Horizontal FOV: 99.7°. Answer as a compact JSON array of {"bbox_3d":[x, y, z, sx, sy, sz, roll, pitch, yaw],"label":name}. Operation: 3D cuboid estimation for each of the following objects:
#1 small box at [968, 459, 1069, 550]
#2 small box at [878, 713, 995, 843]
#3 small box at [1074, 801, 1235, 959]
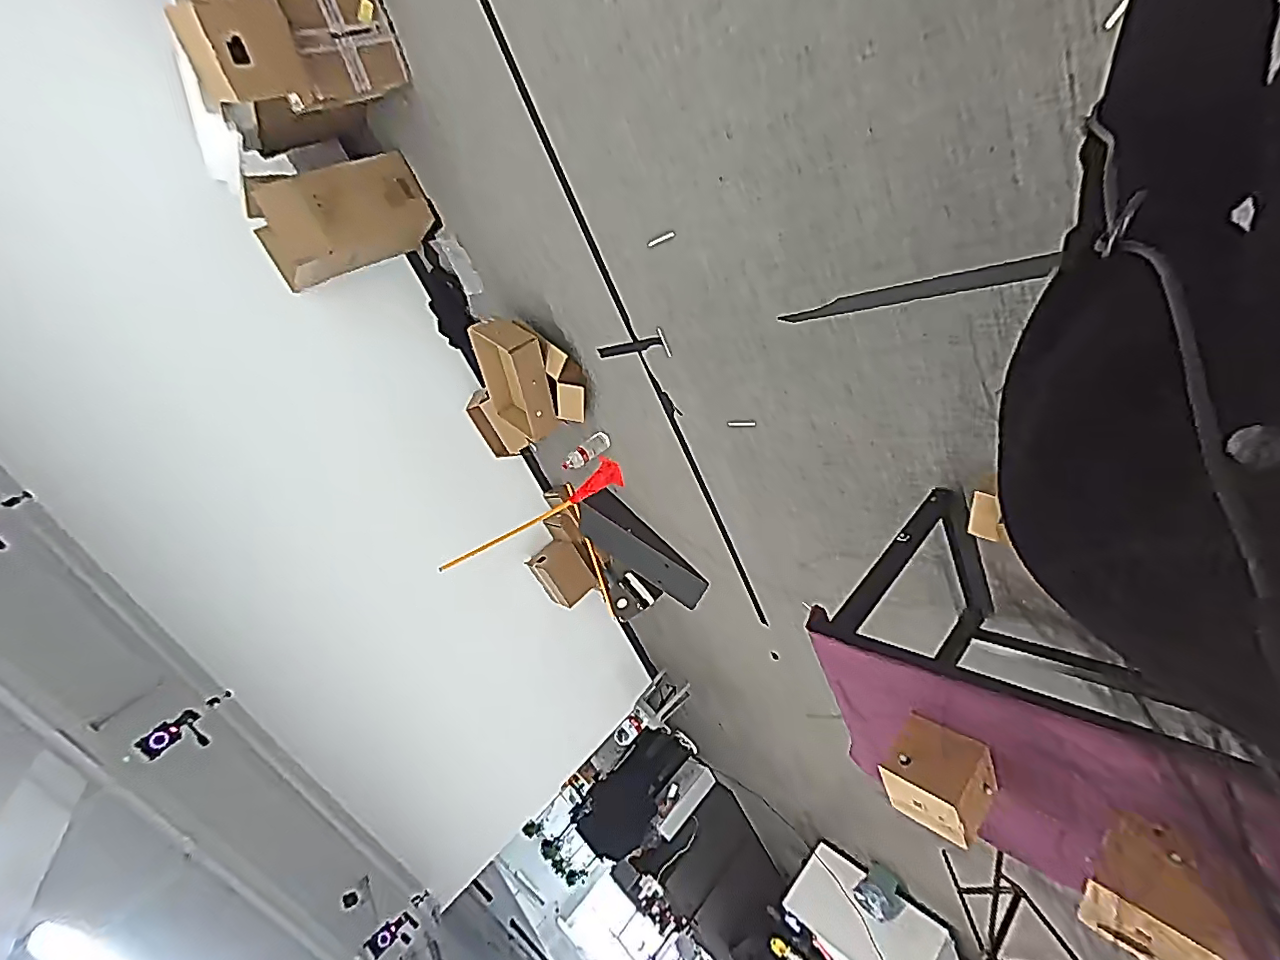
[{"bbox_3d":[1.069,0.062,1.531,0.179,0.176,0.168,24,142,41],"label":"small box"},{"bbox_3d":[0.690,0.678,1.257,0.179,0.176,0.168,9,132,52],"label":"small box"},{"bbox_3d":[0.919,0.731,0.971,0.168,0.176,0.179,20,139,45],"label":"small box"}]
